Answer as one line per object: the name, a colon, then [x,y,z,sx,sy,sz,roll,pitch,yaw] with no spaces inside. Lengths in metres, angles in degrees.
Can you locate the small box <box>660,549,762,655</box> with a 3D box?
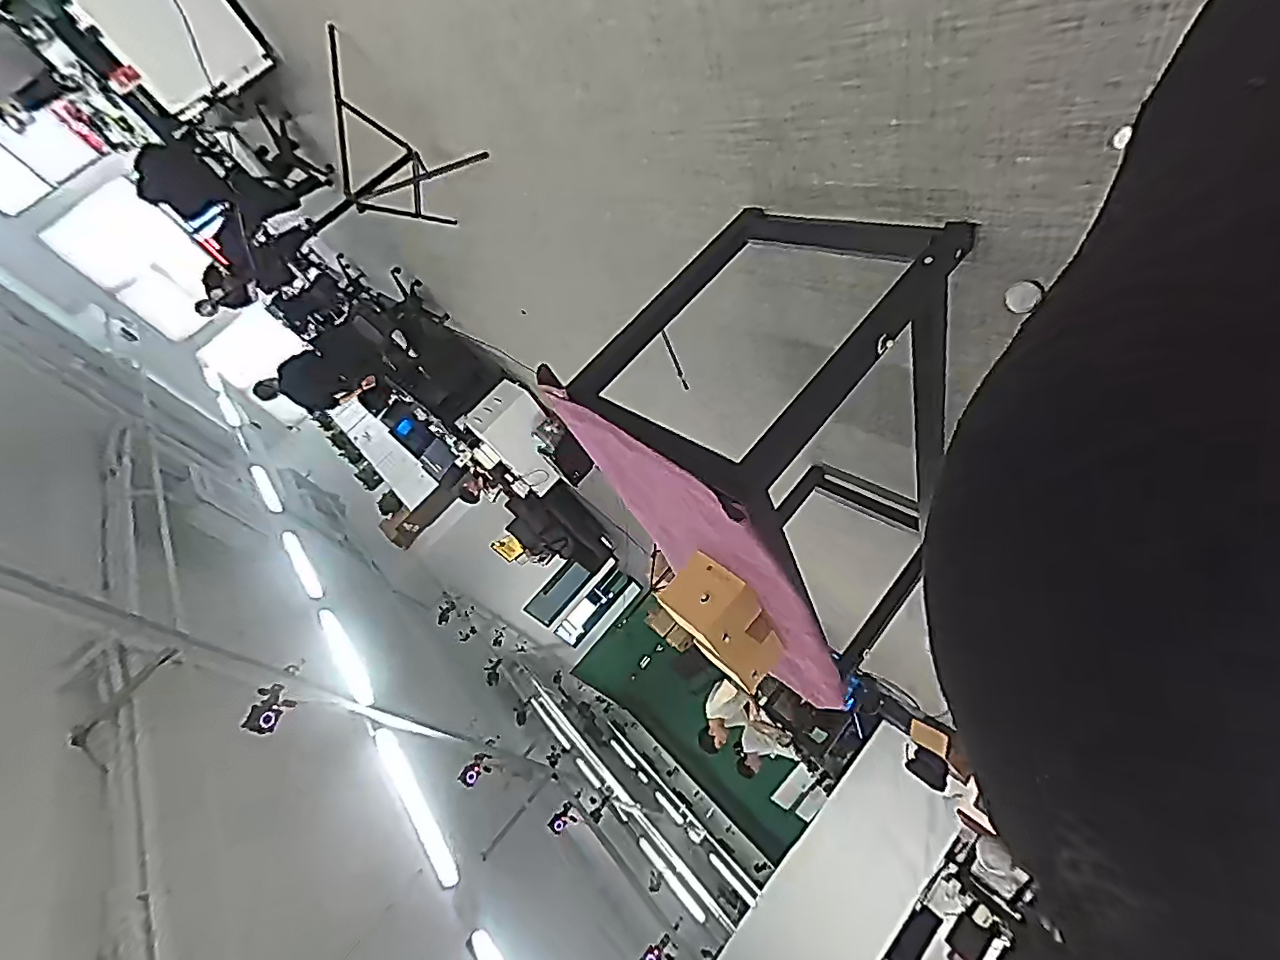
small box: [0.186,0.305,1.376,0.168,0.176,0.179,33,164,41]

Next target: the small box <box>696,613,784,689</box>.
small box: [0.298,0.470,1.578,0.168,0.176,0.179,32,163,41]
